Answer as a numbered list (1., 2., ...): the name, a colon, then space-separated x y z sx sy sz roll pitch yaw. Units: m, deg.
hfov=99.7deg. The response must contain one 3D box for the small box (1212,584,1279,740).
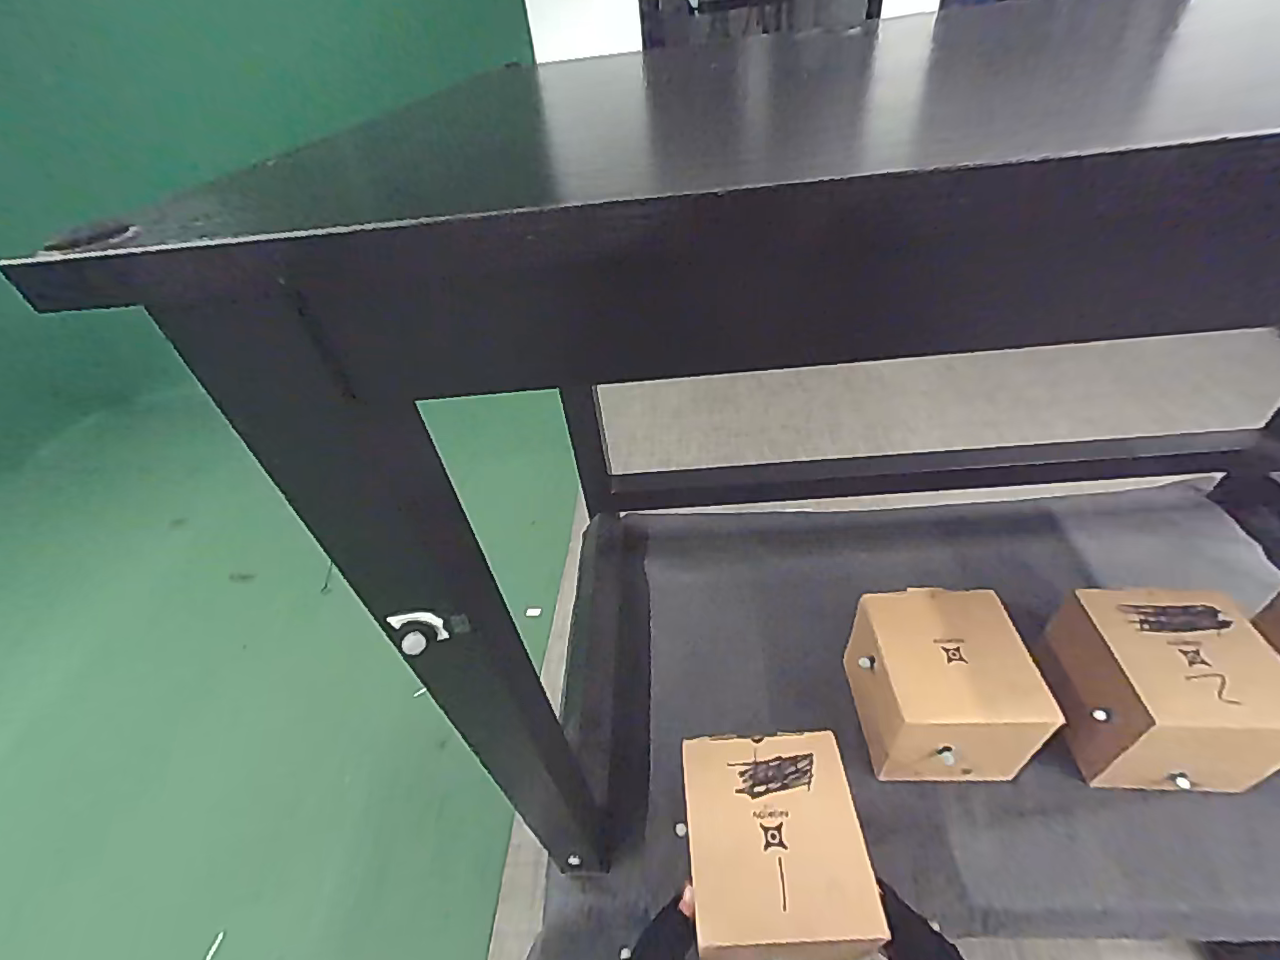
1. small box: 0.866 0.237 0.638 0.168 0.176 0.179 -4 40 5

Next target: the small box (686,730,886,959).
1. small box: 0.137 0.395 0.582 0.168 0.176 0.179 -5 43 3

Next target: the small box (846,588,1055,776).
1. small box: 0.377 0.263 0.698 0.168 0.176 0.179 -4 41 5
